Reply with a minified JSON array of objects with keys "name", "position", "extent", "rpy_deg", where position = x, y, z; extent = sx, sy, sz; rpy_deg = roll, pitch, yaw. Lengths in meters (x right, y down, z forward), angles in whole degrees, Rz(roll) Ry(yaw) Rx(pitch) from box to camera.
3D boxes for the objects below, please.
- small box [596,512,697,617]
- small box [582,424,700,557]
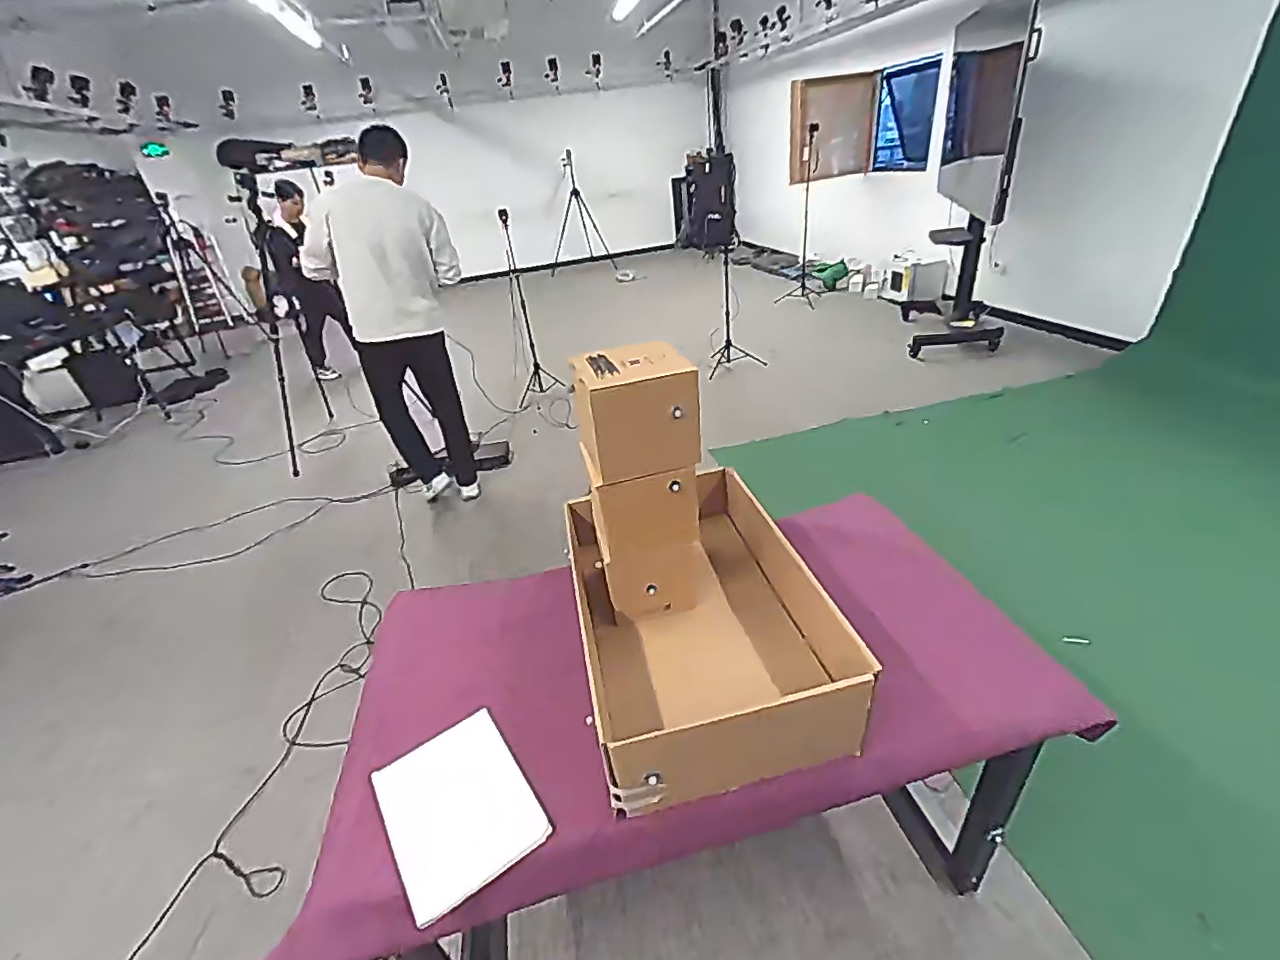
[{"name":"small box","position":[0.014,0.154,1.087],"extent":[0.168,0.176,0.179],"rpy_deg":[-11,33,-6]},{"name":"small box","position":[0.002,0.020,0.999],"extent":[0.179,0.176,0.168],"rpy_deg":[-13,33,-9]}]
